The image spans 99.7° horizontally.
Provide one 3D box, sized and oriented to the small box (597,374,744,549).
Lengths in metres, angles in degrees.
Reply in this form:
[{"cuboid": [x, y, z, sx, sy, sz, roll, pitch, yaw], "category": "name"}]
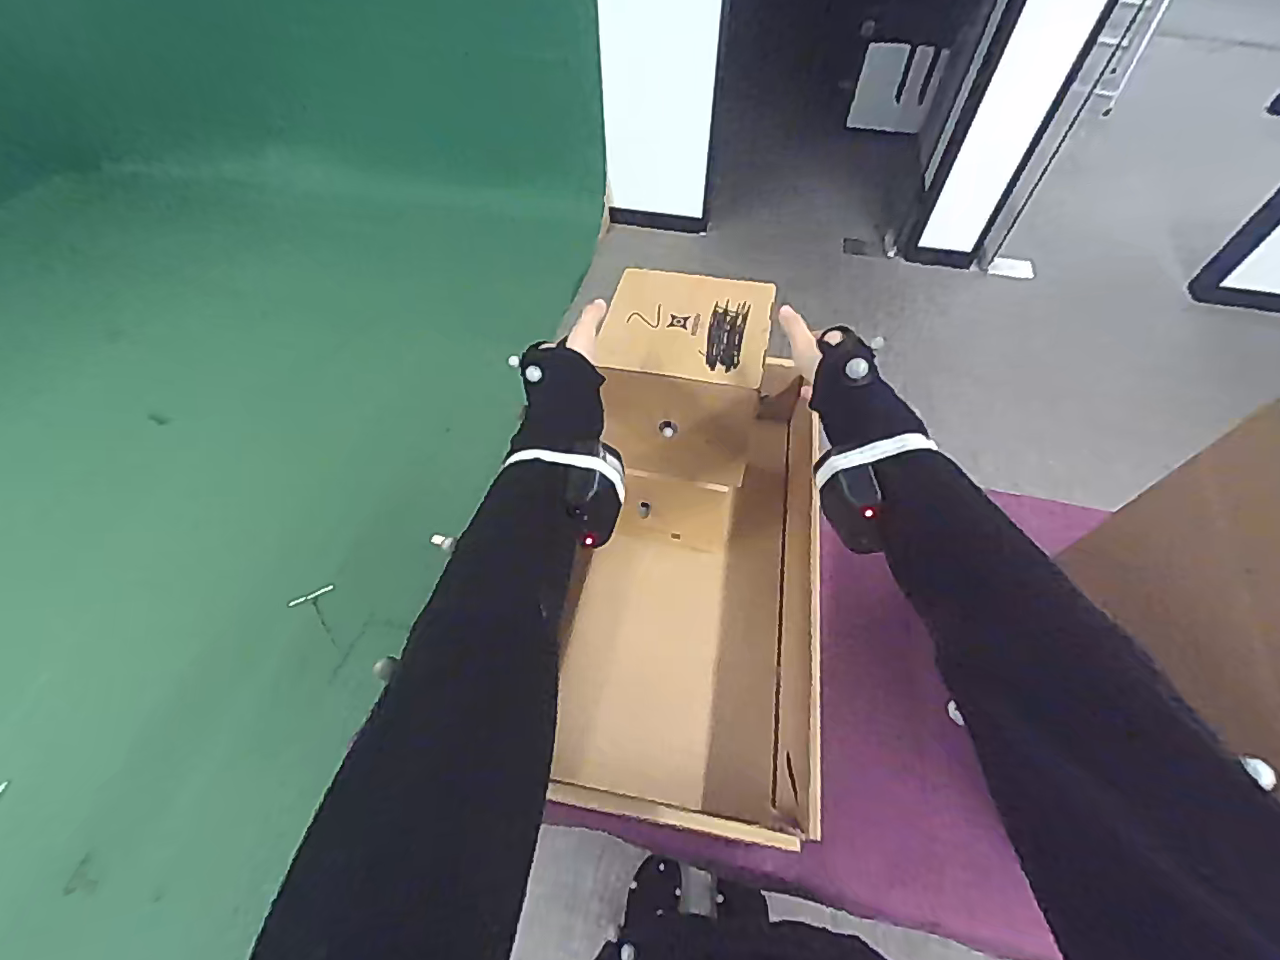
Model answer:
[{"cuboid": [0.048, -0.022, 0.770, 0.168, 0.176, 0.179, 10, 57, 9], "category": "small box"}]
